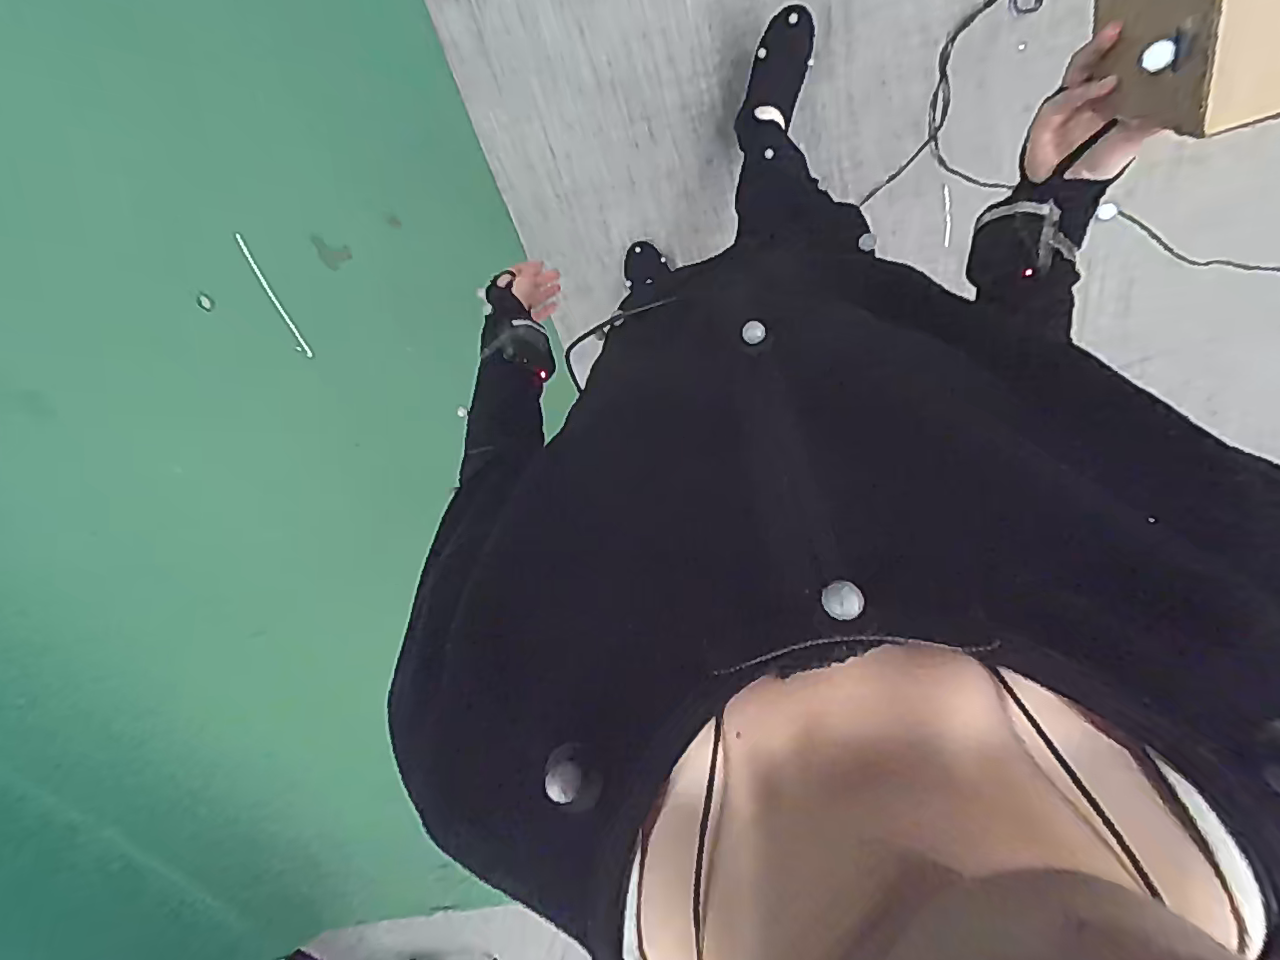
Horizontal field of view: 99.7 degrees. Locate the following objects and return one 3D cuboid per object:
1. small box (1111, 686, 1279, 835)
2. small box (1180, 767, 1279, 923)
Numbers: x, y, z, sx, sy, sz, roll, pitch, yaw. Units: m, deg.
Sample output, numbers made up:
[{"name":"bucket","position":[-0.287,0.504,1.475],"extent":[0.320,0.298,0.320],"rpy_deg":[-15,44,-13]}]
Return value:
[{"name":"small box","position":[1.066,0.527,1.027],"extent":[0.179,0.176,0.168],"rpy_deg":[-36,115,19]},{"name":"small box","position":[1.063,0.600,0.878],"extent":[0.168,0.176,0.179],"rpy_deg":[34,117,-19]}]
